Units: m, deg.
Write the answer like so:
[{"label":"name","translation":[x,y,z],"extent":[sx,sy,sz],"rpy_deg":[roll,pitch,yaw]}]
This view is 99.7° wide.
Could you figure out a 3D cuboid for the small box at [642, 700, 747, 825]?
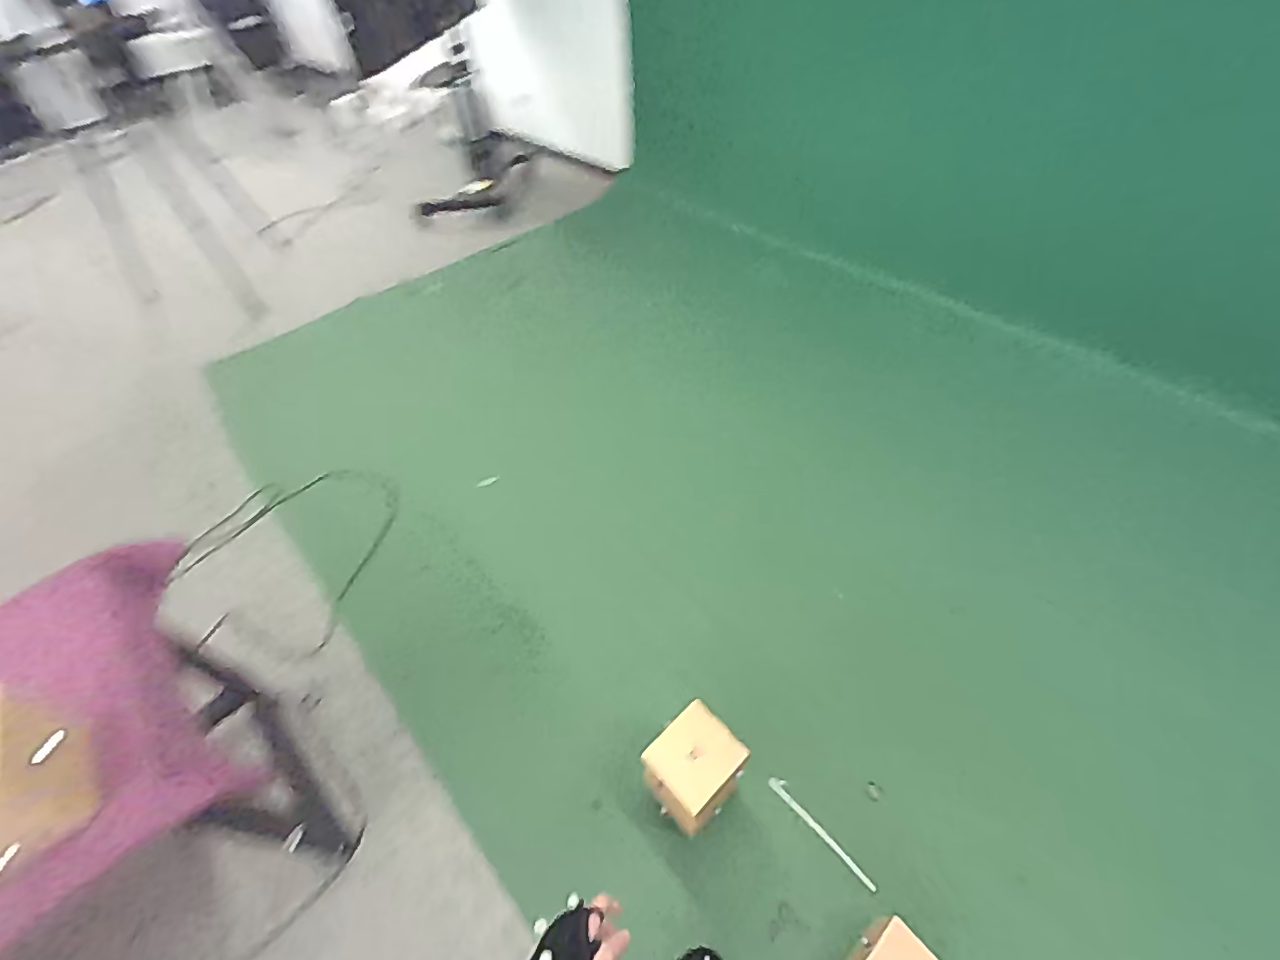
[{"label":"small box","translation":[0.127,0.655,1.249],"extent":[0.179,0.176,0.168],"rpy_deg":[-35,55,-25]}]

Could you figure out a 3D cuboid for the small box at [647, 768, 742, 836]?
[{"label":"small box","translation":[0.134,0.760,1.371],"extent":[0.179,0.176,0.168],"rpy_deg":[-36,55,-24]}]

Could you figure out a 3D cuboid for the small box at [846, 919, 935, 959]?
[{"label":"small box","translation":[0.518,1.042,1.099],"extent":[0.179,0.176,0.168],"rpy_deg":[-34,55,-23]}]
